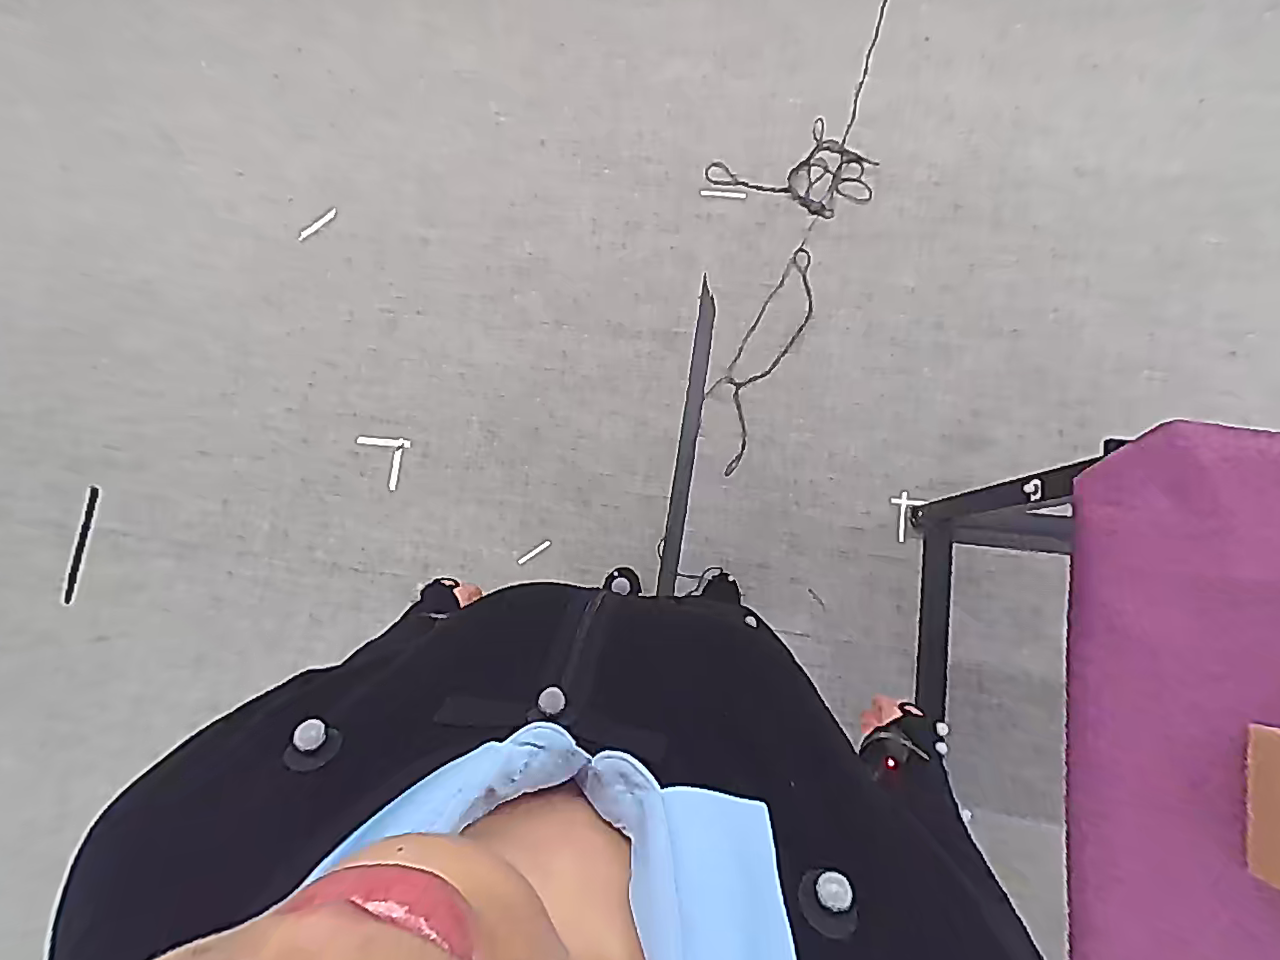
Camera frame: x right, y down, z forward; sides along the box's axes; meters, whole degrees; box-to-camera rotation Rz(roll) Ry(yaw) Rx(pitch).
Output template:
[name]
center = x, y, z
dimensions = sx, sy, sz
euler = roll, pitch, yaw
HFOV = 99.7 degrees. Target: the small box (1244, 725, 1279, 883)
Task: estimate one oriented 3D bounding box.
[small box]
center = 0.816, 0.389, 0.578
dimensions = 0.168, 0.176, 0.179
euler = 8, 83, 6
